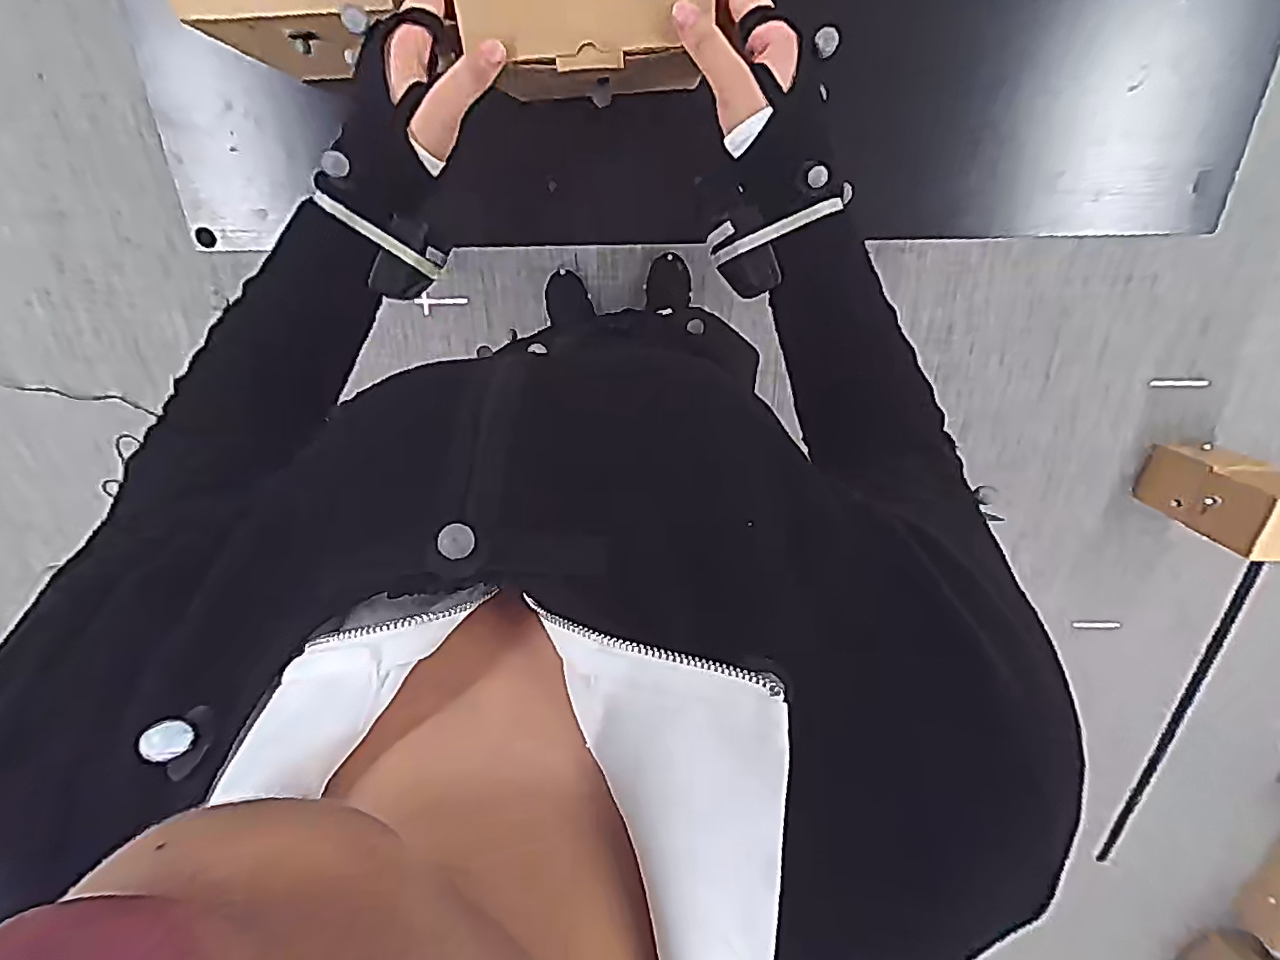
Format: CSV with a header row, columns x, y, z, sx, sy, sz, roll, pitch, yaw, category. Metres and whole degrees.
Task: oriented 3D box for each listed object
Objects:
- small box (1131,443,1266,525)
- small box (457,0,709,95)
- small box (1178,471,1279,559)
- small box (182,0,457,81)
x,y,z,sx,sy,sz,roll,pitch,yaw,category
1.513,0.011,1.482,0.168,0.176,0.179,1,113,-1,small box
-0.036,-0.389,0.387,0.168,0.176,0.179,-3,121,3,small box
1.517,0.082,1.336,0.179,0.176,0.168,0,112,1,small box
-0.285,-0.478,0.482,0.179,0.176,0.168,-3,113,0,small box
